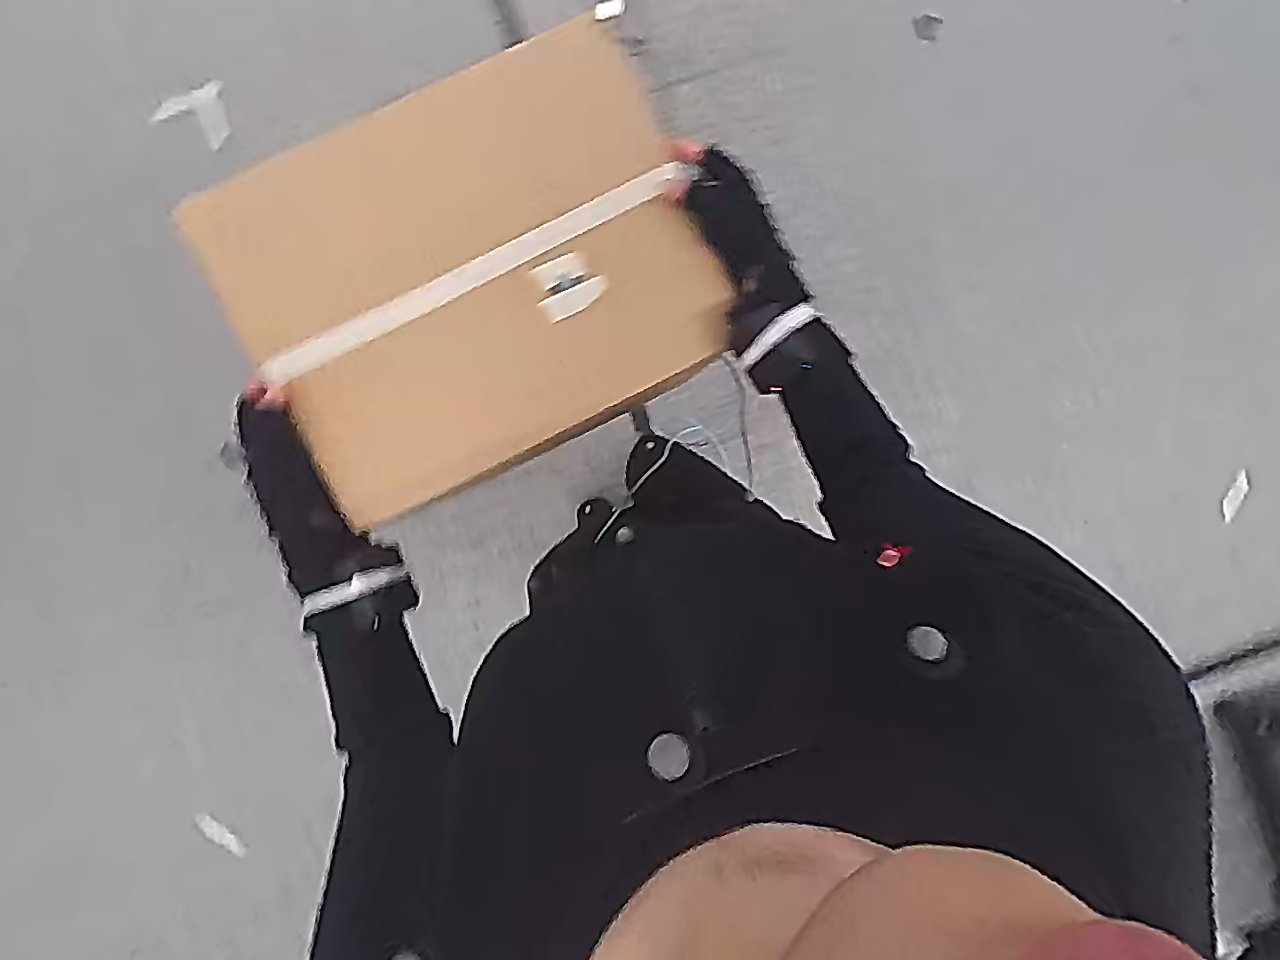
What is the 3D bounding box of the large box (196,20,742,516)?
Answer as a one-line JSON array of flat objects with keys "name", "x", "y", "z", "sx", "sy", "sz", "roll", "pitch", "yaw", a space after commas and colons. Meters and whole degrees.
[{"name": "large box", "x": -0.159, "y": -0.197, "z": 0.637, "sx": 0.408, "sy": 0.320, "sz": 0.320, "roll": -28, "pitch": 96, "yaw": -4}]
